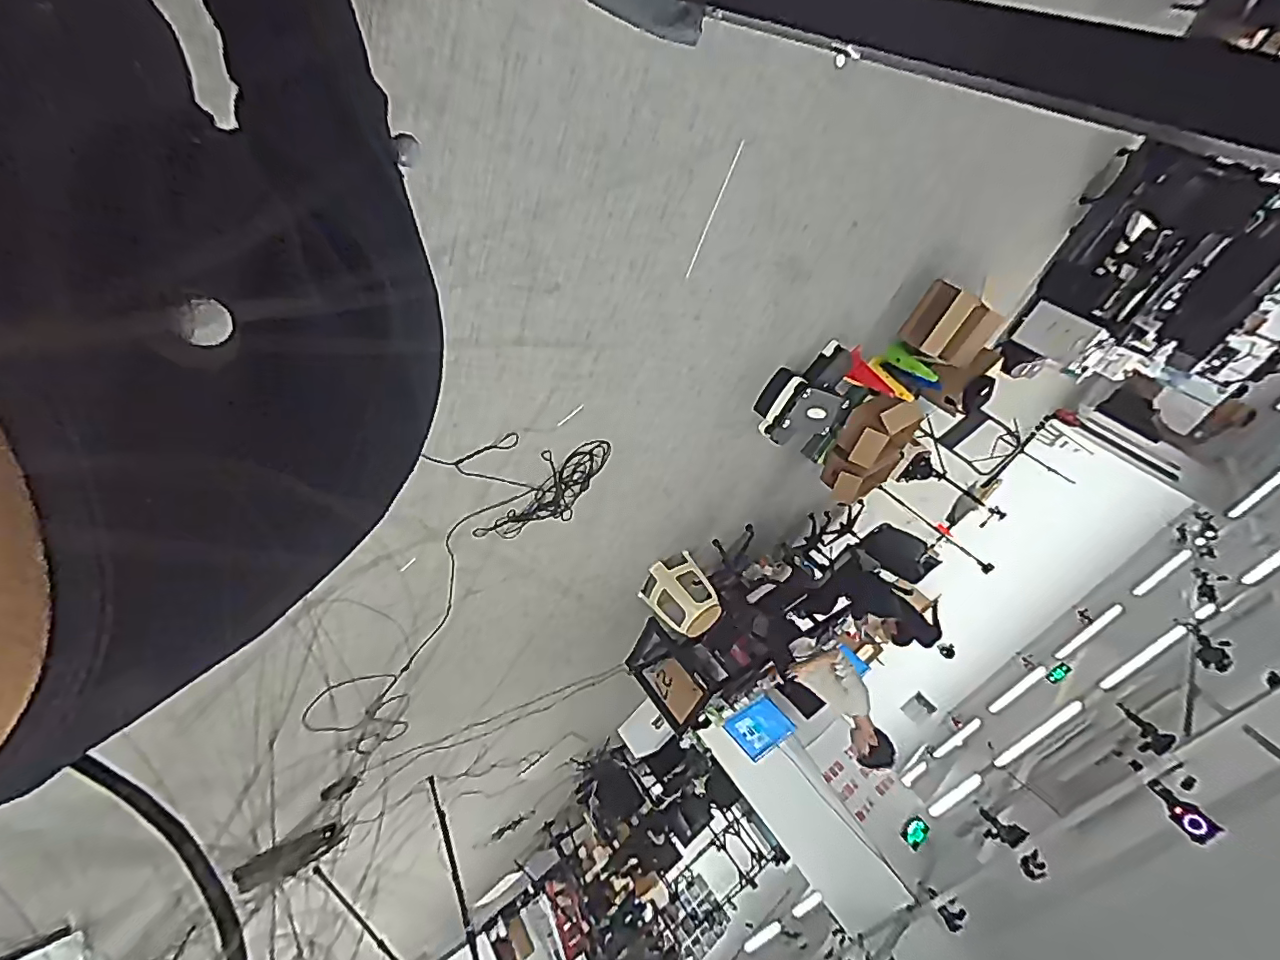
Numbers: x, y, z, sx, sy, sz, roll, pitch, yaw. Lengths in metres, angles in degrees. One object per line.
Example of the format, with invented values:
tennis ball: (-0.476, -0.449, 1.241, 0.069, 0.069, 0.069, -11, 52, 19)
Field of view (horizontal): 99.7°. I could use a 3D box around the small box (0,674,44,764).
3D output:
small box: (-1.735, 0.643, 1.435, 0.168, 0.176, 0.179, -14, 139, -38)
